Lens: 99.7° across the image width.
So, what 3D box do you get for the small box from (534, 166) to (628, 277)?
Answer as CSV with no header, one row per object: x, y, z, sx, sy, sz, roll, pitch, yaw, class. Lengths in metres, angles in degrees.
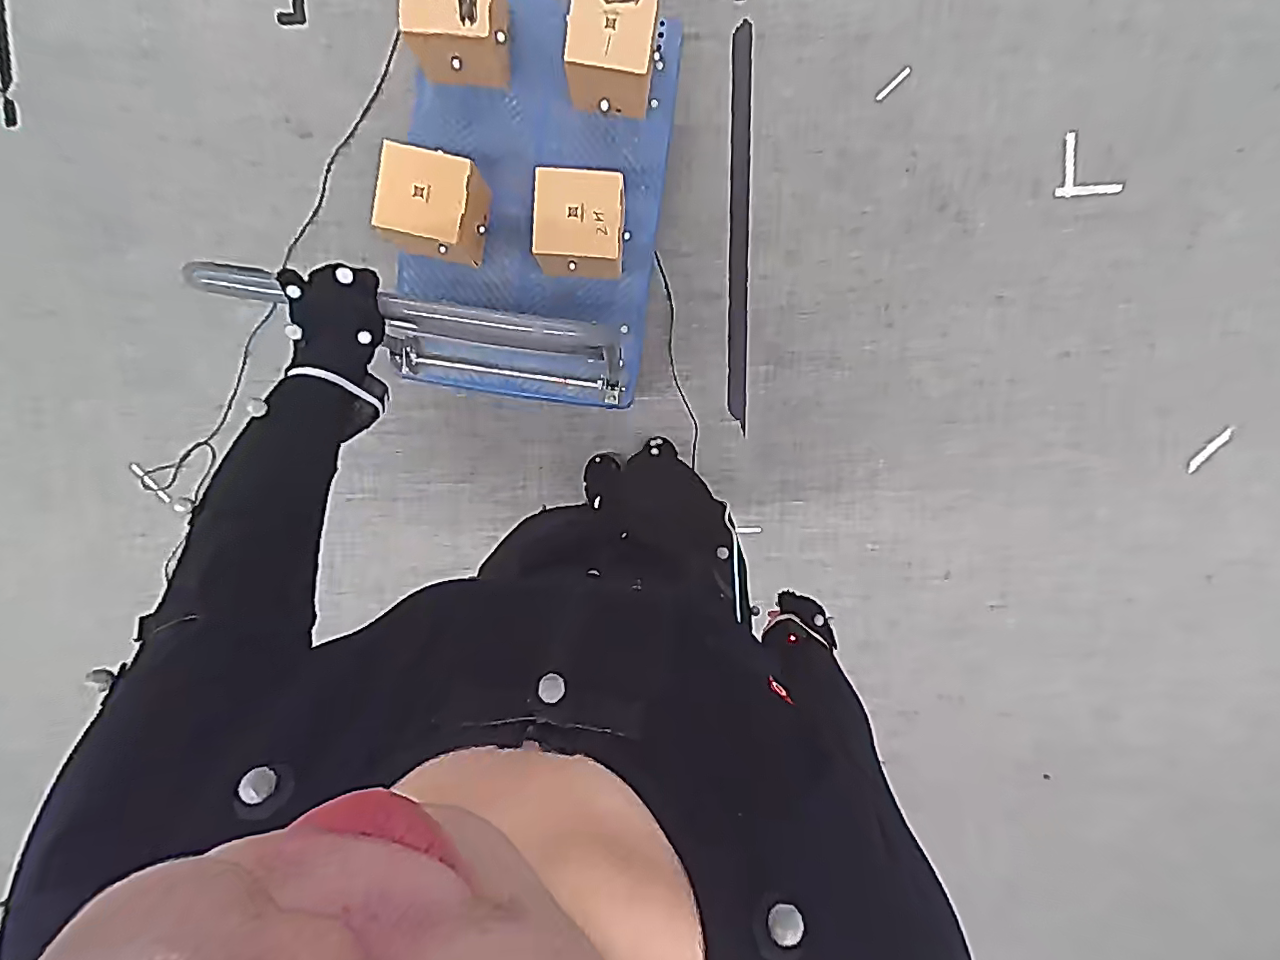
-0.120,-0.541,1.150,0.179,0.176,0.168,4,97,-1,small box

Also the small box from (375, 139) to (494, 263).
-0.427,-0.578,1.144,0.179,0.176,0.168,11,96,-3,small box

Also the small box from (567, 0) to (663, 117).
-0.049,-0.893,1.109,0.168,0.176,0.179,9,98,-1,small box
